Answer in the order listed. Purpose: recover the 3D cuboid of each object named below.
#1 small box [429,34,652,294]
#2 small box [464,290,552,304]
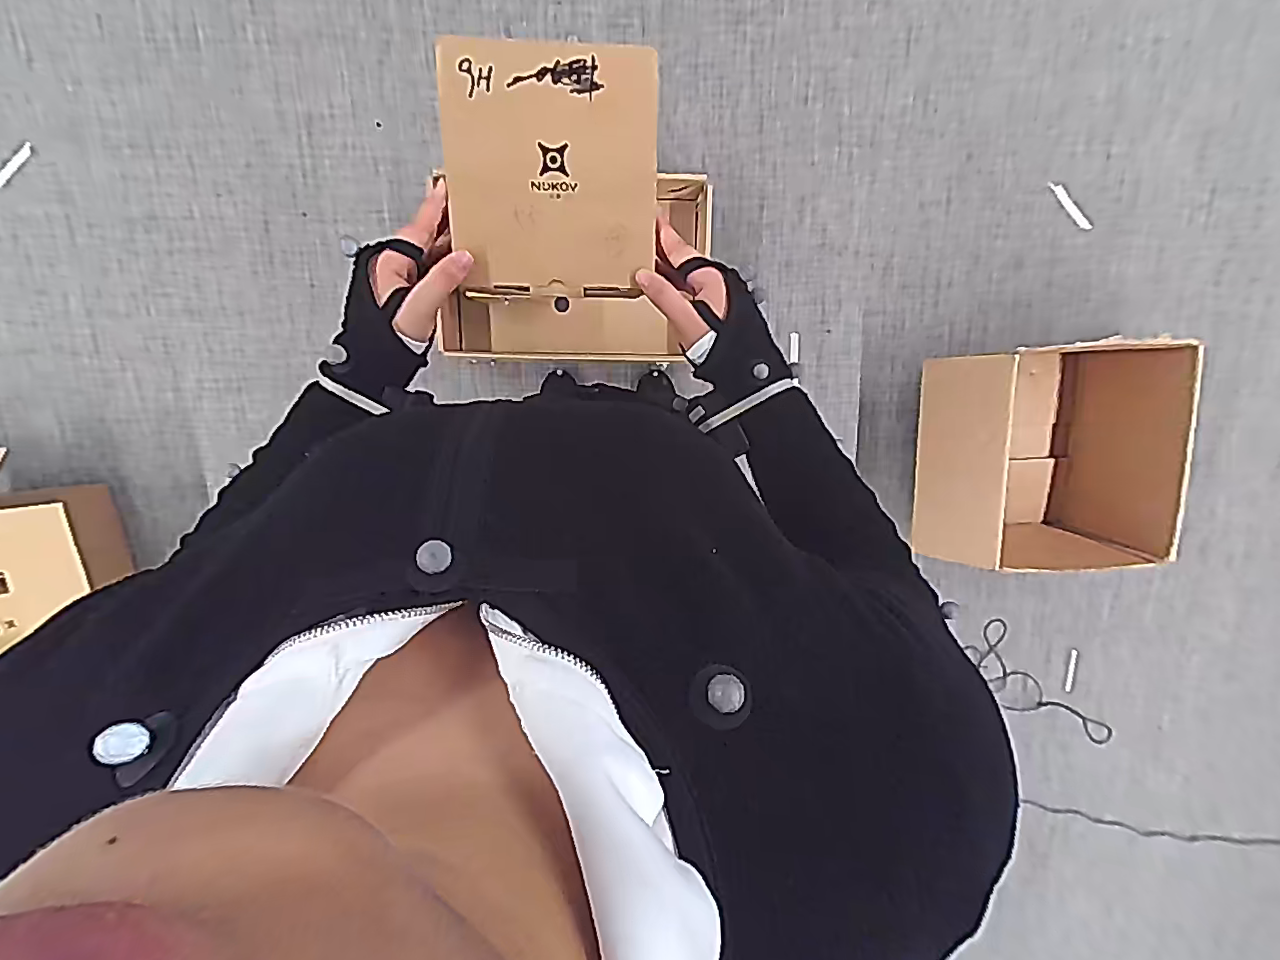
[{"bbox_3d":[-0.080,-0.266,0.498,0.168,0.176,0.179,-1,108,-5],"label":"small box"},{"bbox_3d":[-0.304,-0.500,1.256,0.179,0.176,0.168,-1,104,-3],"label":"small box"}]
